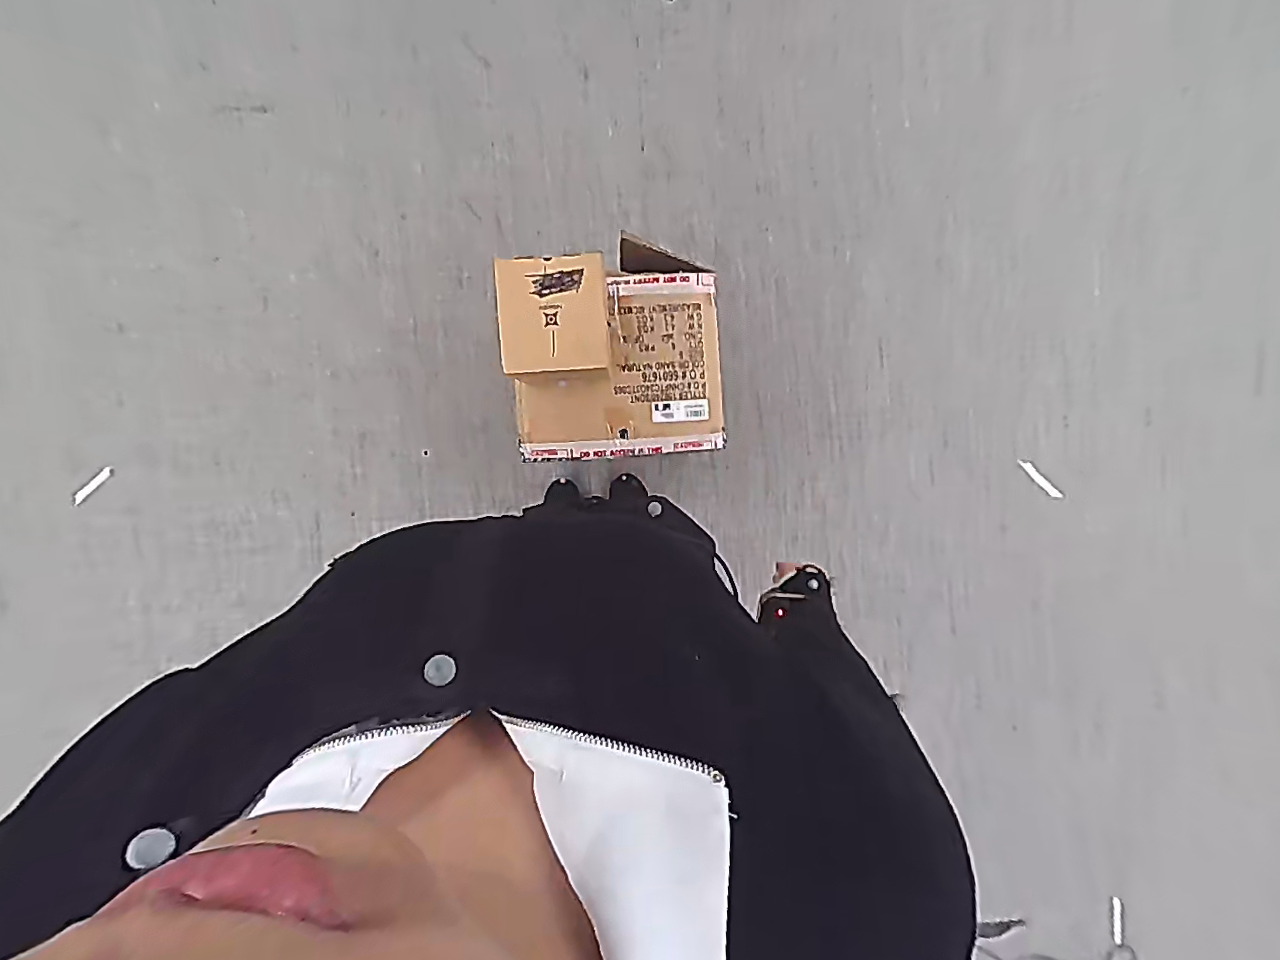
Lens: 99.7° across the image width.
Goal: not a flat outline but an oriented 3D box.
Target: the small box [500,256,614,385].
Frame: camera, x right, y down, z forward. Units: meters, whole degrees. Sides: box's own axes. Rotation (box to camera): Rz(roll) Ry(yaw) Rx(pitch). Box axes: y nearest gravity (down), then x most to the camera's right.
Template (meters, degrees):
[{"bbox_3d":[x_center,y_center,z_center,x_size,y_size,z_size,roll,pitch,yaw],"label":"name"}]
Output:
[{"bbox_3d":[-0.131,-0.260,0.914,0.168,0.176,0.179,-3,96,0],"label":"small box"}]
